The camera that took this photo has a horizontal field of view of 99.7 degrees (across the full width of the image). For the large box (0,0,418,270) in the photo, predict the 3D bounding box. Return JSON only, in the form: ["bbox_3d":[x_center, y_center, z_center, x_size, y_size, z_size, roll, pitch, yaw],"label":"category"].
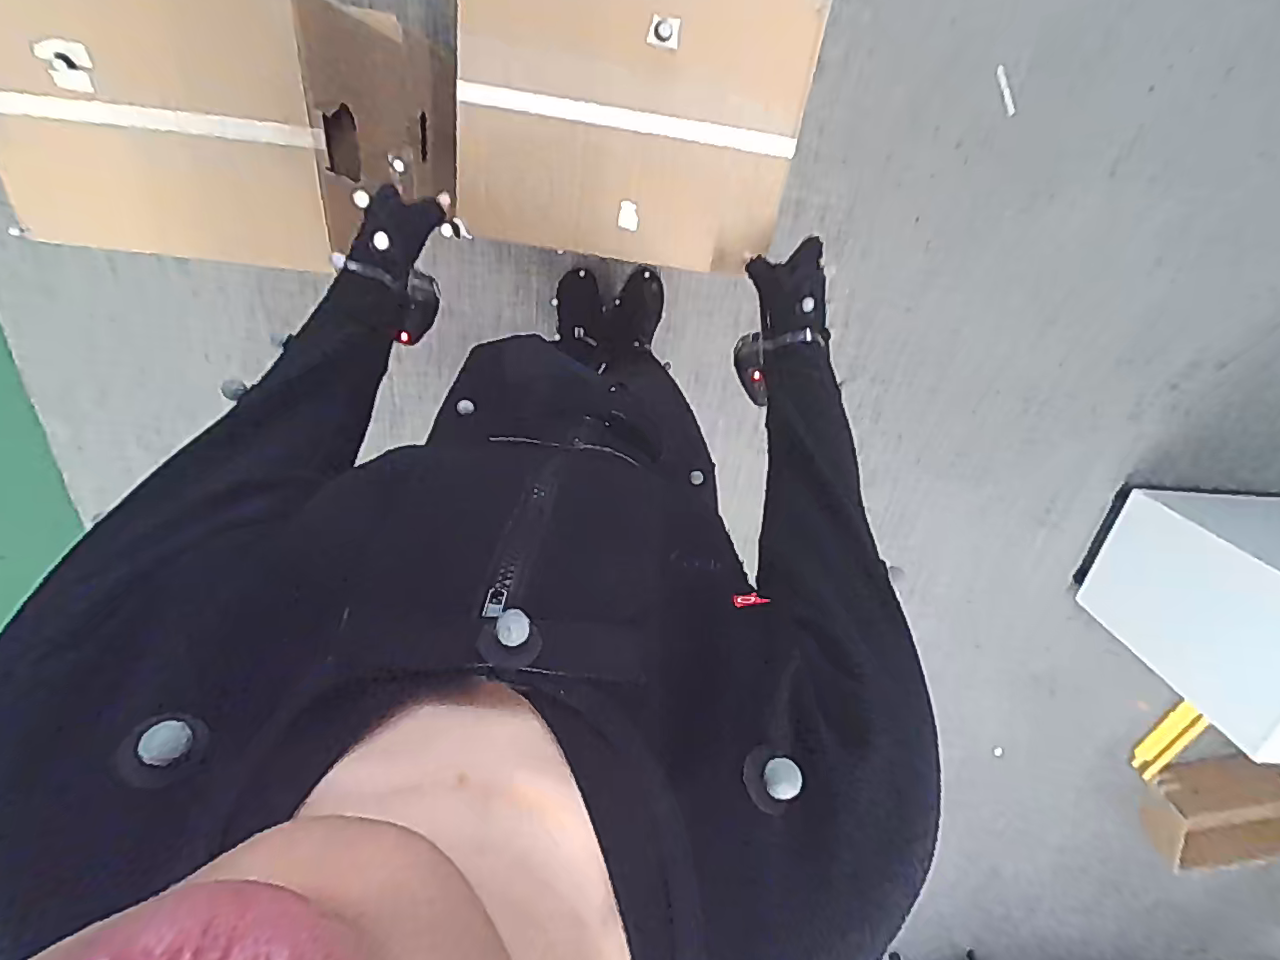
[{"bbox_3d":[-0.588,-0.509,0.774,0.408,0.320,0.320,7,119,-2],"label":"large box"}]
